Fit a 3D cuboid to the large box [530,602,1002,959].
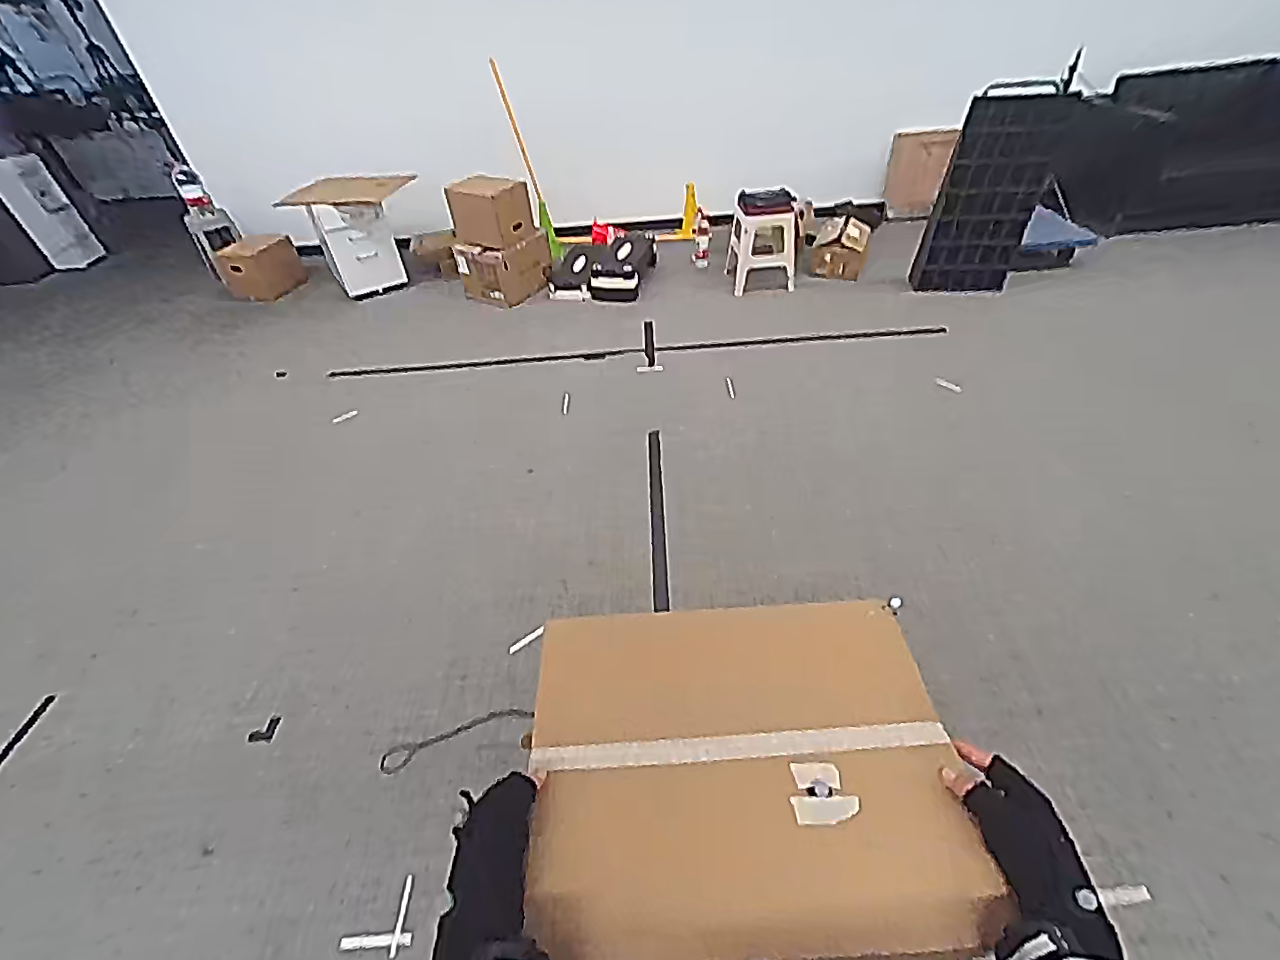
[{"bbox_3d":[0.101,0.377,0.653,0.408,0.320,0.320,-4,44,0],"label":"large box"}]
